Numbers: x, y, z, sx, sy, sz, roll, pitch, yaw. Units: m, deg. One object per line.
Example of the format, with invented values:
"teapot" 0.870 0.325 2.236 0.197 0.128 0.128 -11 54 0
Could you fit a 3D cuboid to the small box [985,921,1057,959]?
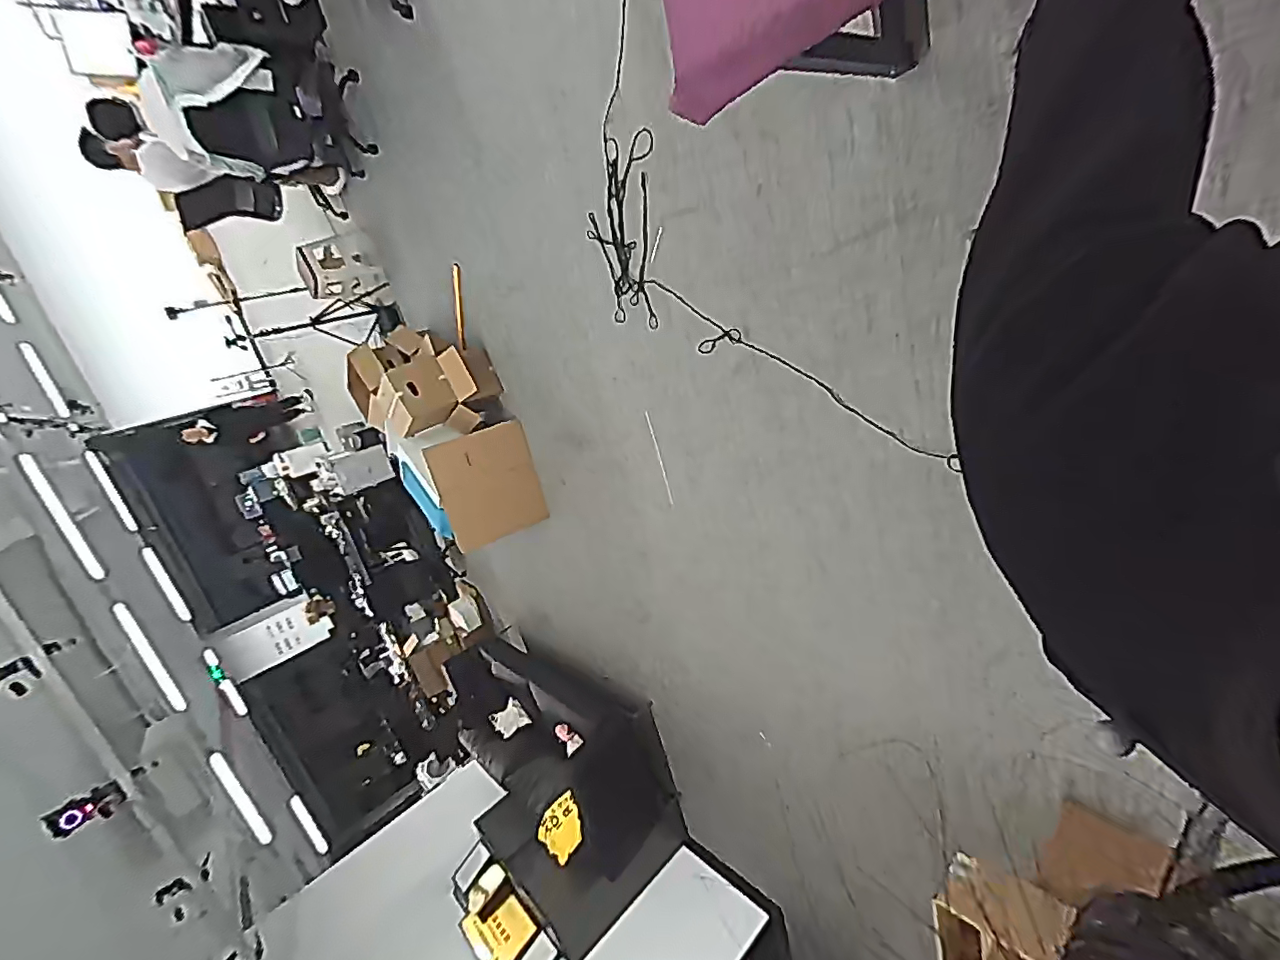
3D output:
"small box" 0.993 1.317 1.408 0.168 0.176 0.179 18 125 43
